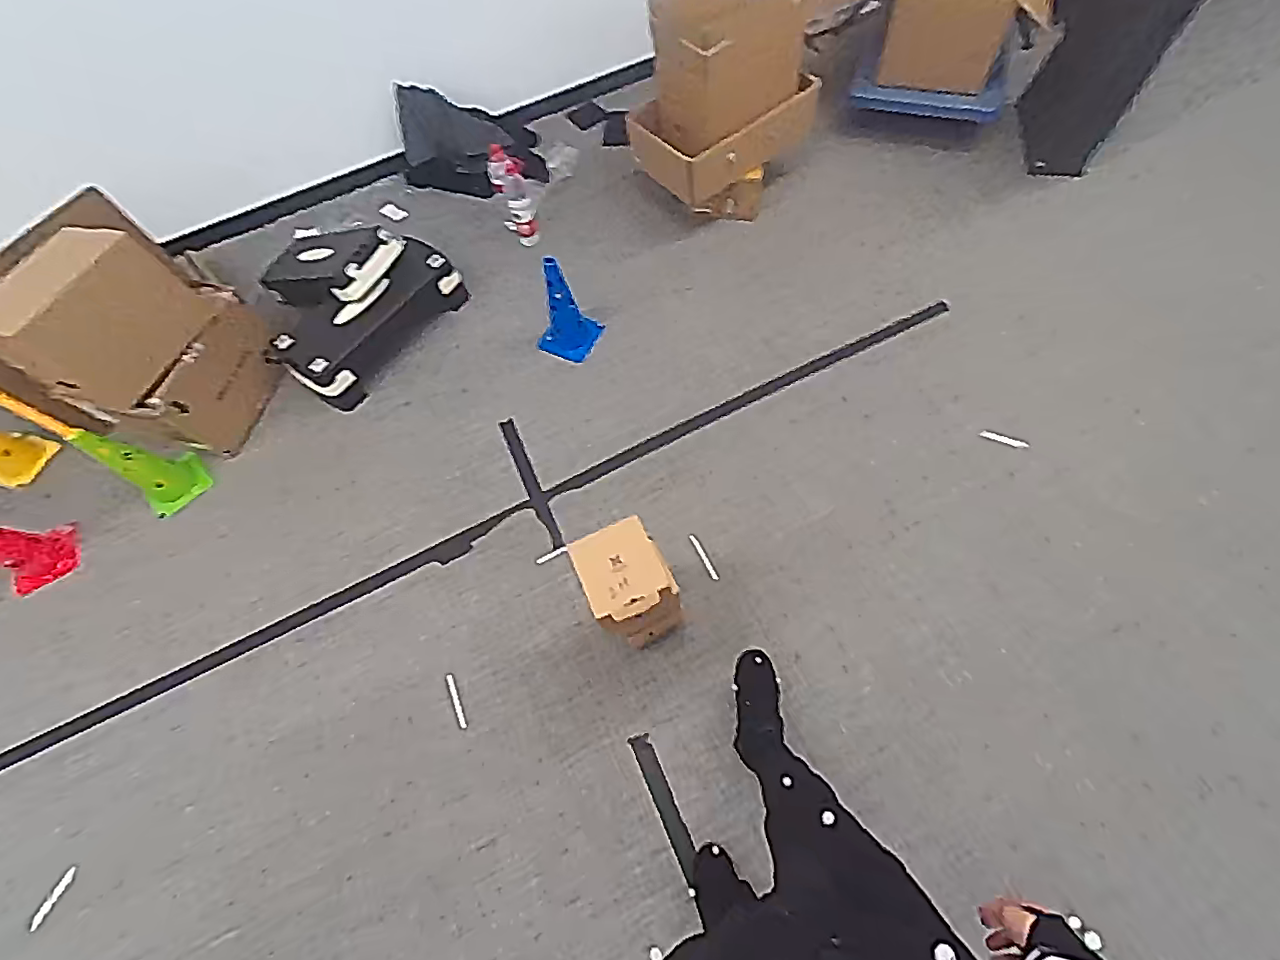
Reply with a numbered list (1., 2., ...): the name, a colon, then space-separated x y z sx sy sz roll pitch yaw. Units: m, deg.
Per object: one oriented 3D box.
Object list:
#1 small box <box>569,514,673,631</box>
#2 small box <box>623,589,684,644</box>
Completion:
1. small box: -0.038 0.206 1.176 0.168 0.176 0.179 -24 64 -6
2. small box: 0.012 0.333 1.478 0.168 0.176 0.179 -29 64 -8
